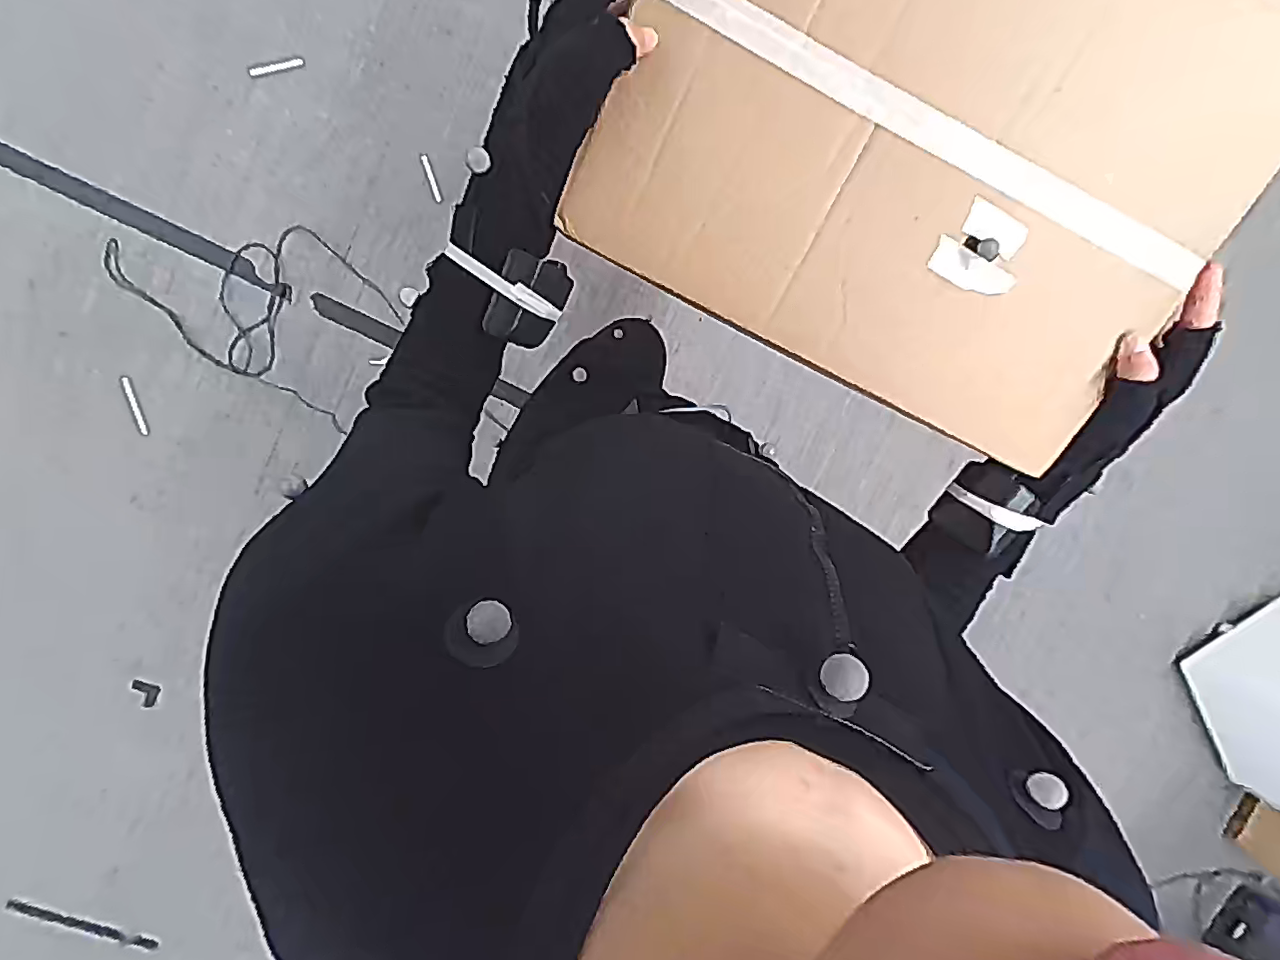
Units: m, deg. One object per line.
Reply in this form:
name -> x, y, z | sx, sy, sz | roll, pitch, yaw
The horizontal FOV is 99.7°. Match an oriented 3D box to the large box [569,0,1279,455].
large box -> 0.194, -0.275, 0.499 | 0.408, 0.320, 0.320 | 26, 109, -6
